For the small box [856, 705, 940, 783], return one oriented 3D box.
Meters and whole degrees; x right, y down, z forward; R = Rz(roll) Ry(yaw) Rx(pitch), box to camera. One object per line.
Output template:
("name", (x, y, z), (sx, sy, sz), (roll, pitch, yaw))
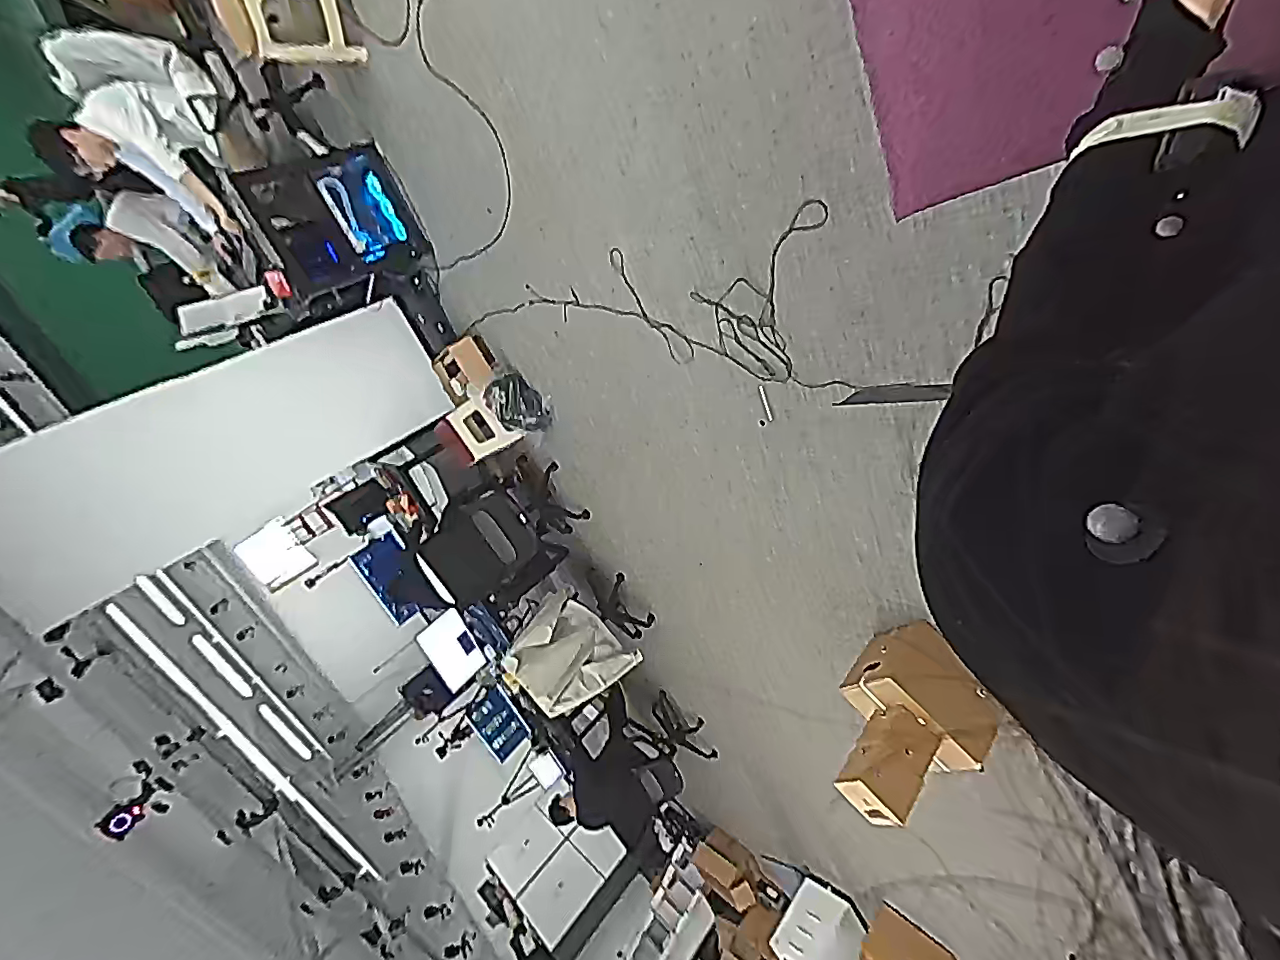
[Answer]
("small box", (0.906, 0.926, 1.893), (0.179, 0.176, 0.168), (45, 147, 13))
